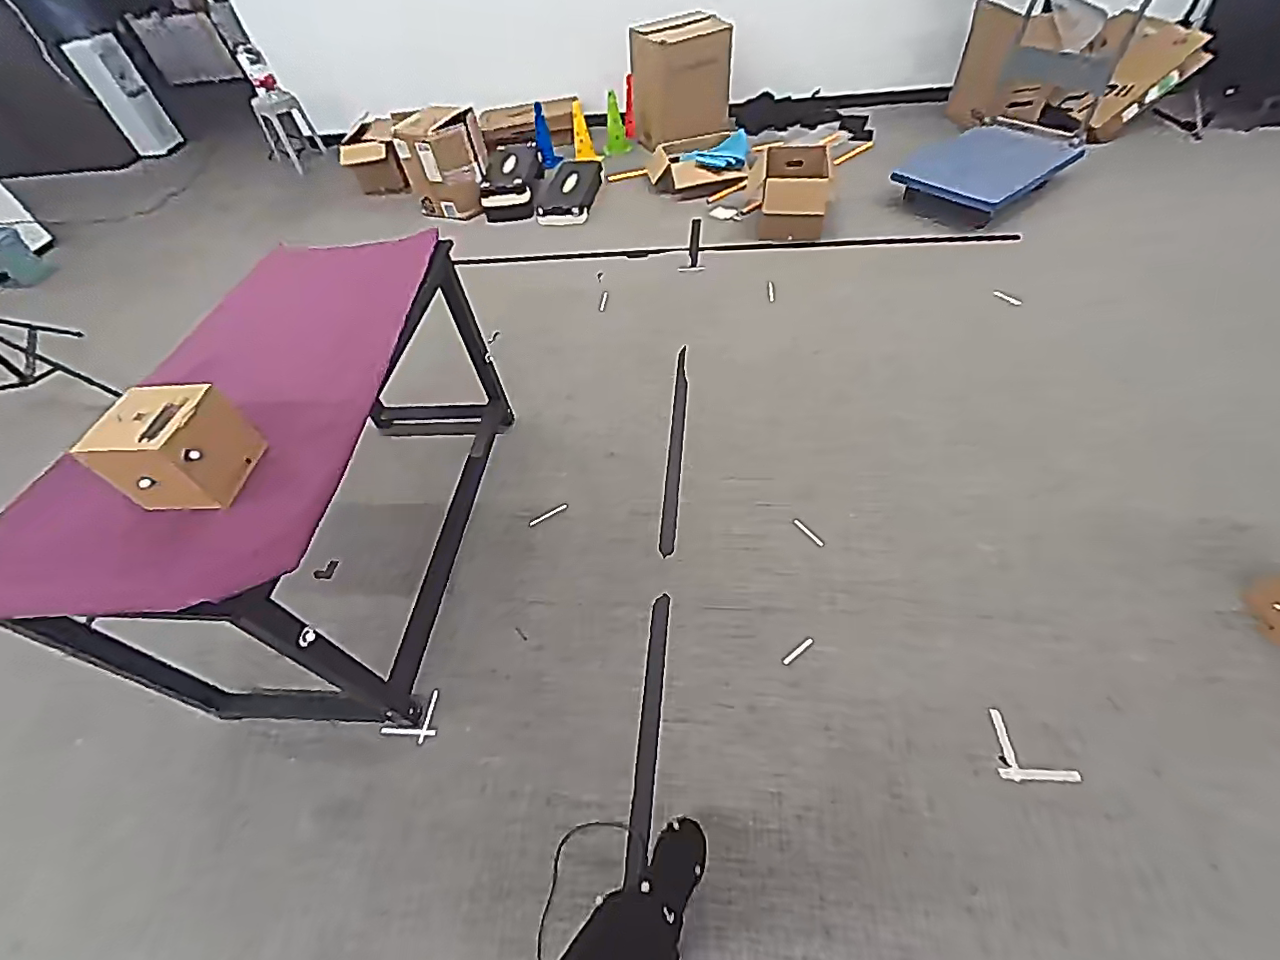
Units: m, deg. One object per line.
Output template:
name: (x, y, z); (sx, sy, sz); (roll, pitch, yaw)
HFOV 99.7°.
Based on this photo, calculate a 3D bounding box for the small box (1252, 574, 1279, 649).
small box: (1.700, 0.328, 1.340); (0.179, 0.176, 0.168); (3, 51, 9)
